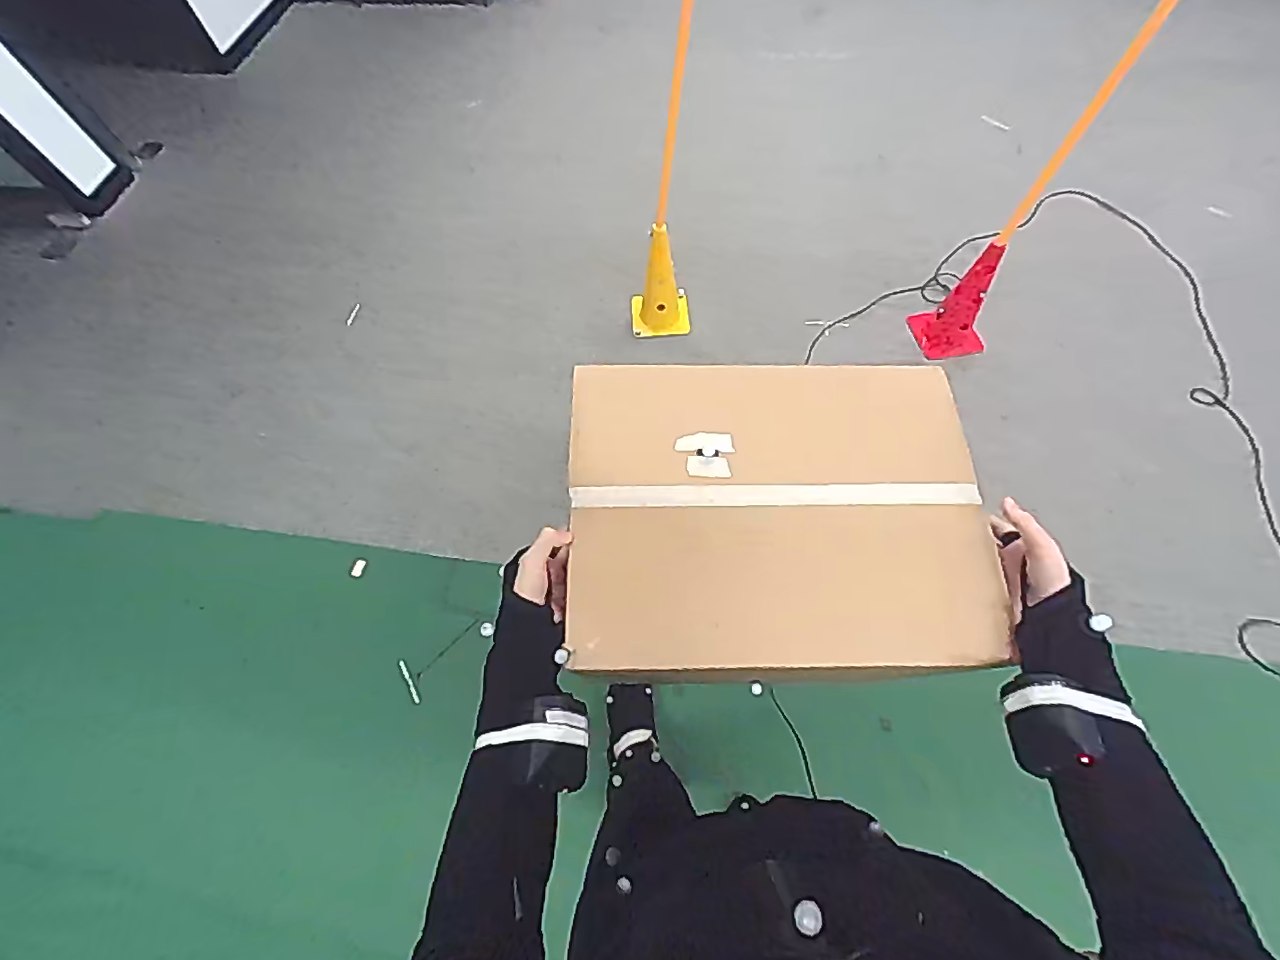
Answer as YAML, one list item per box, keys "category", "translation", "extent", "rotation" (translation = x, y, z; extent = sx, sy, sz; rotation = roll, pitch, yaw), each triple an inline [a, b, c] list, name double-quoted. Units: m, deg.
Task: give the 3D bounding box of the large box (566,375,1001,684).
- category: "large box"
  translation: [0.129, 0.085, 0.681]
  extent: [0.408, 0.320, 0.320]
  rotation: [-1, 66, 0]
